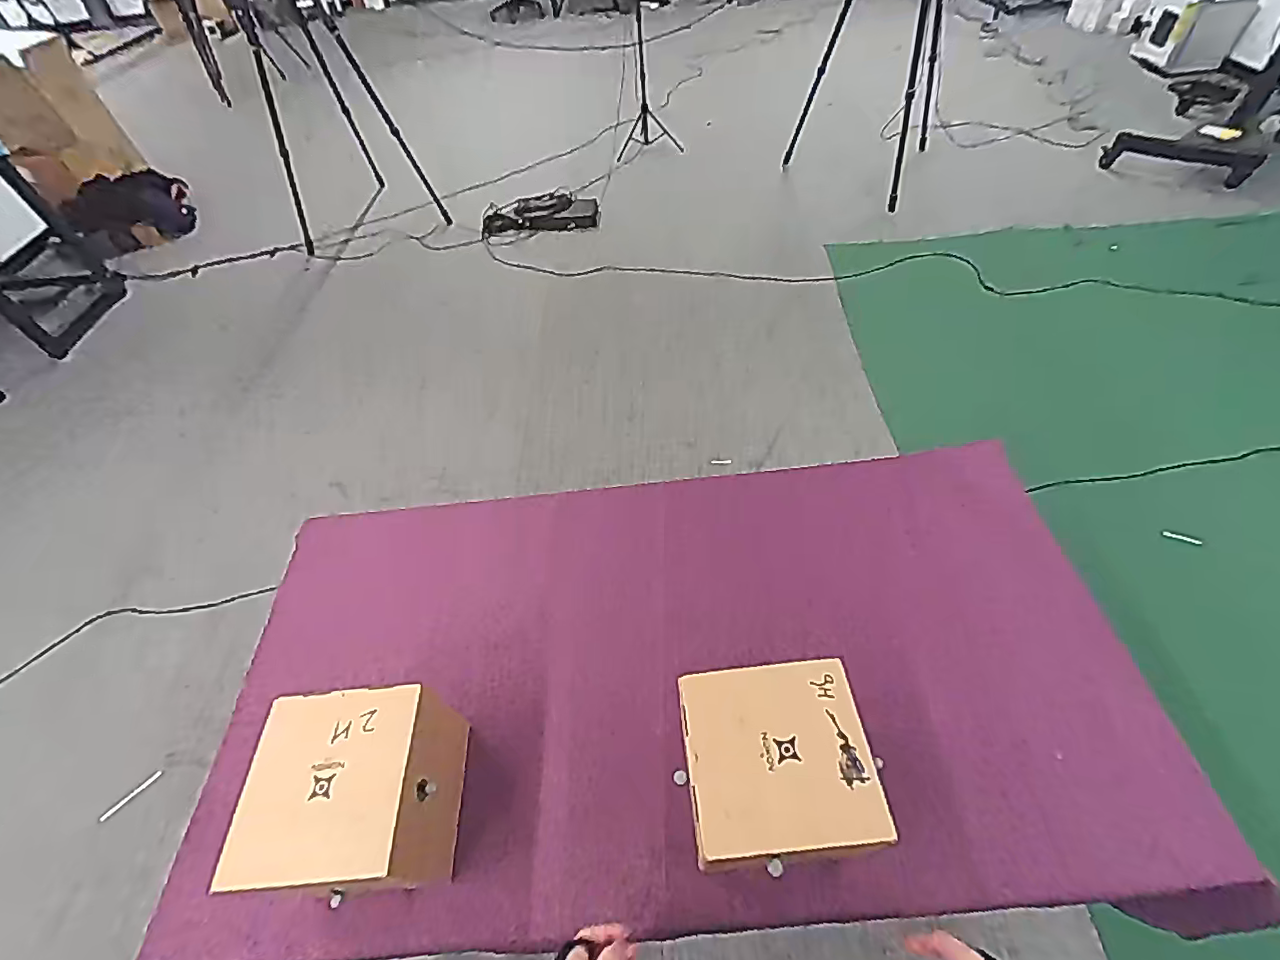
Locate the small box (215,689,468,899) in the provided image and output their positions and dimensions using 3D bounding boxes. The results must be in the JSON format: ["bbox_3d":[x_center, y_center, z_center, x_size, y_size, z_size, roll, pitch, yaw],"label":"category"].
[{"bbox_3d":[-0.306,0.353,0.604,0.168,0.176,0.179,-6,51,1],"label":"small box"}]

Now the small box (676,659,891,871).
[{"bbox_3d":[0.139,0.313,0.586,0.179,0.176,0.168,-7,51,2],"label":"small box"}]
